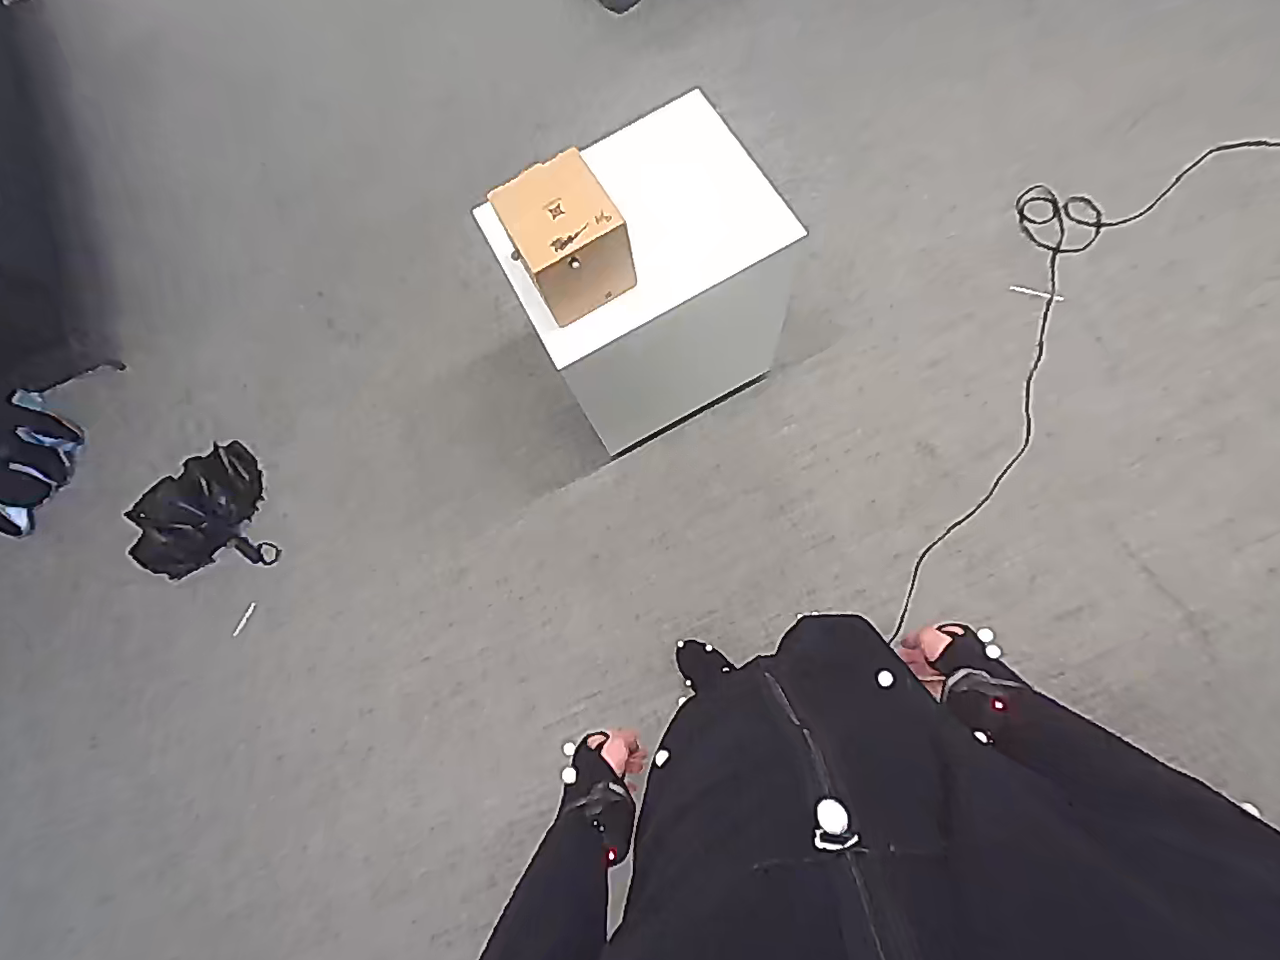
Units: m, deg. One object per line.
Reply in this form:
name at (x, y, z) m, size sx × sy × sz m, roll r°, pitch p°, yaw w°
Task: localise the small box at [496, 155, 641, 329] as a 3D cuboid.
small box at (-0.114, -0.396, 0.924) m, size 0.168 × 0.176 × 0.179 m, roll -30°, pitch 73°, yaw -1°
